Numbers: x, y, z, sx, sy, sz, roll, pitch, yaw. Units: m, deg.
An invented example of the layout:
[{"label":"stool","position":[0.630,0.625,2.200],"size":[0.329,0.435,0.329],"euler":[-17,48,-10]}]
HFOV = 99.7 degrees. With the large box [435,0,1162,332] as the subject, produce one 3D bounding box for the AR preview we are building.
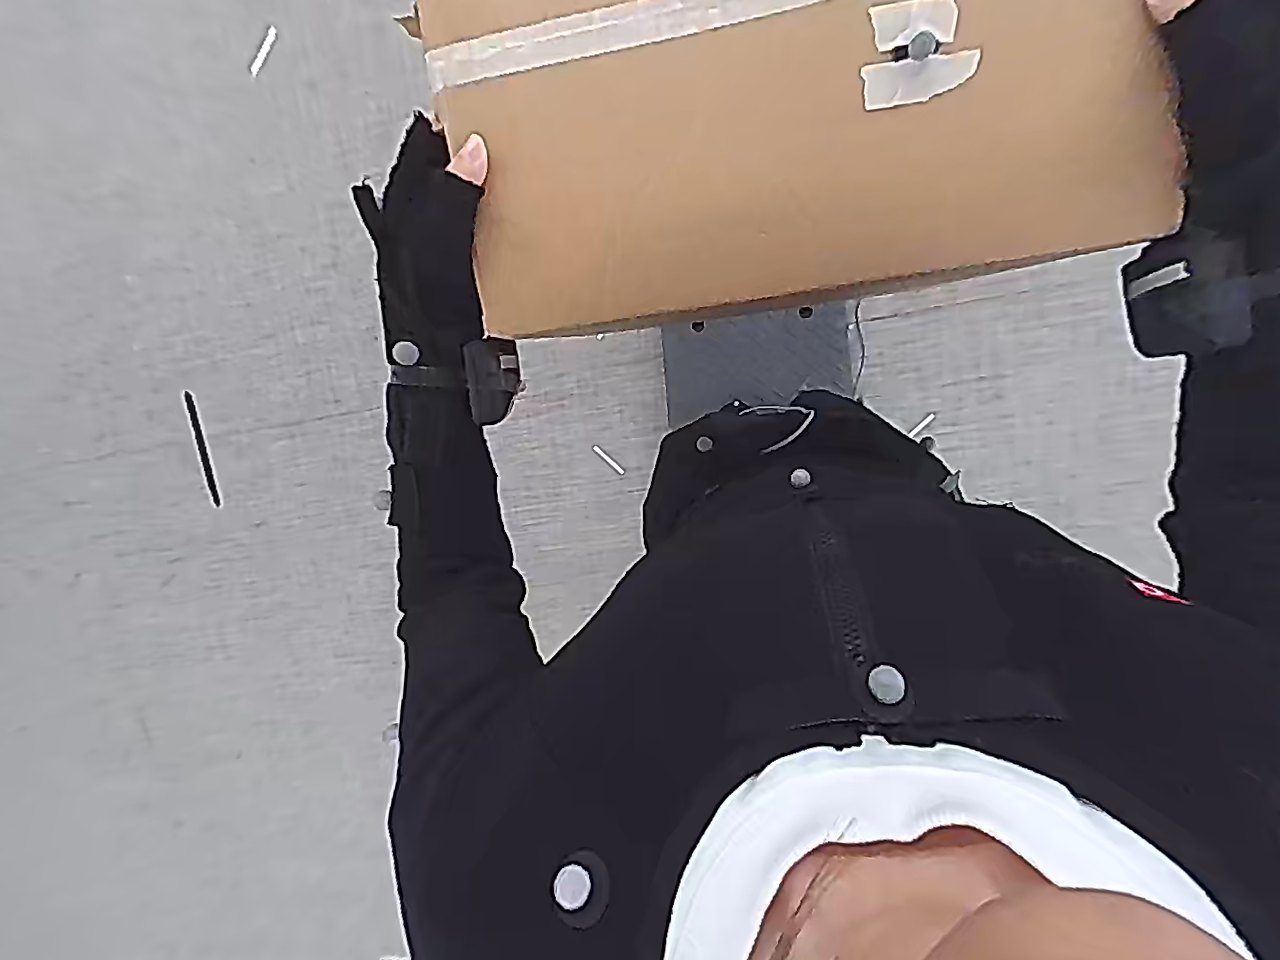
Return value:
[{"label":"large box","position":[0.091,-0.312,0.450],"size":[0.408,0.320,0.320],"euler":[-7,105,8]}]
